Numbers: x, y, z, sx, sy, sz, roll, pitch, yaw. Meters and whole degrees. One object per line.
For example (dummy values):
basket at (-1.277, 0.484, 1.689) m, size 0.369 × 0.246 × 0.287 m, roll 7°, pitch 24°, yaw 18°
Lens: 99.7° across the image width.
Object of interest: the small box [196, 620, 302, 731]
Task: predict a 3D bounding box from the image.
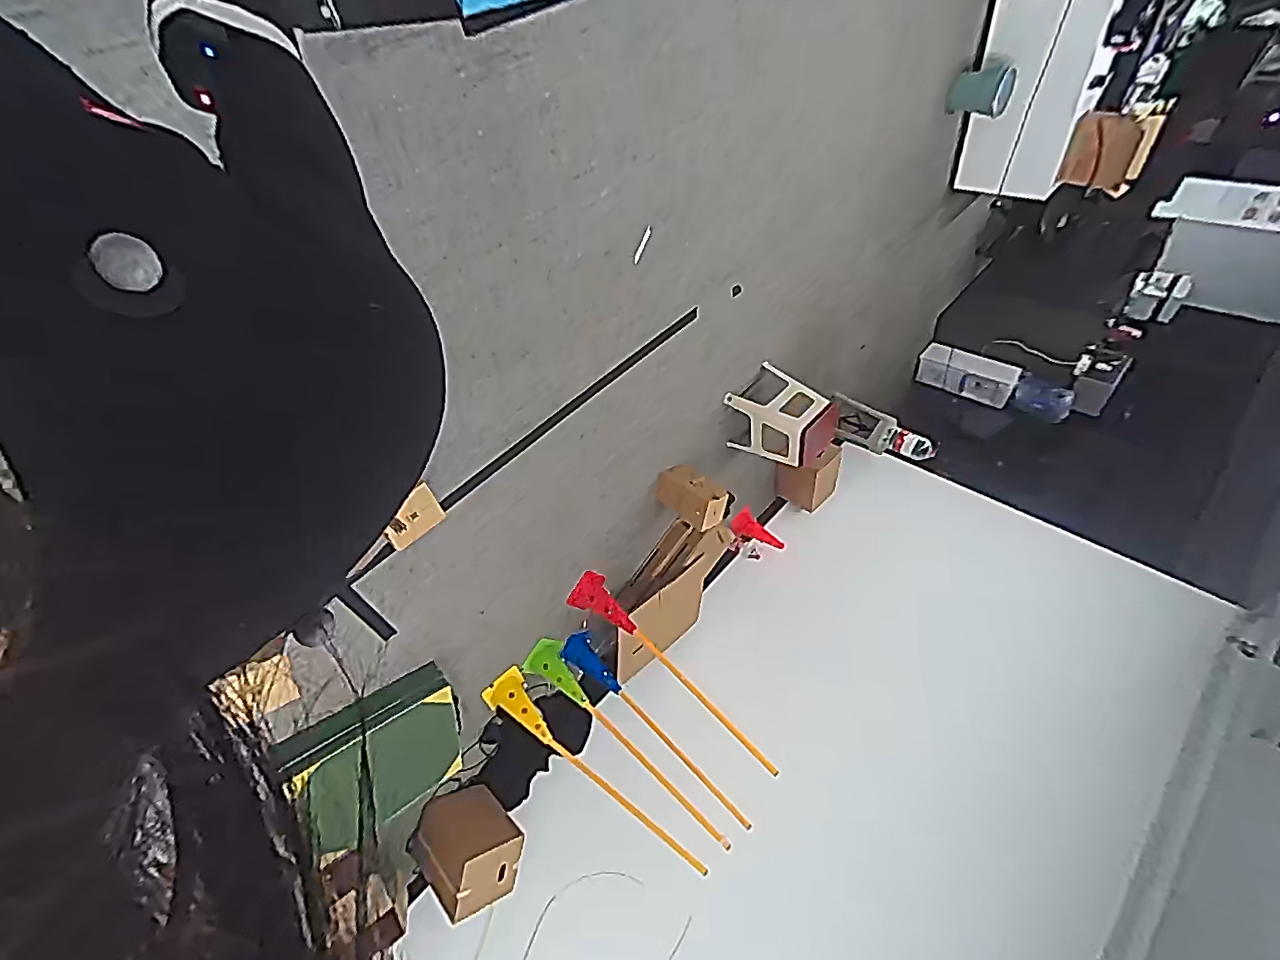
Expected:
small box at (-0.983, 0.479, 1.360) m, size 0.168 × 0.176 × 0.179 m, roll -21°, pitch 132°, yaw -38°

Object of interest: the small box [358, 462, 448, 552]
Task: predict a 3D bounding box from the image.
small box at (-0.727, 0.078, 1.646) m, size 0.179 × 0.176 × 0.168 m, roll -40°, pitch 142°, yaw -25°
